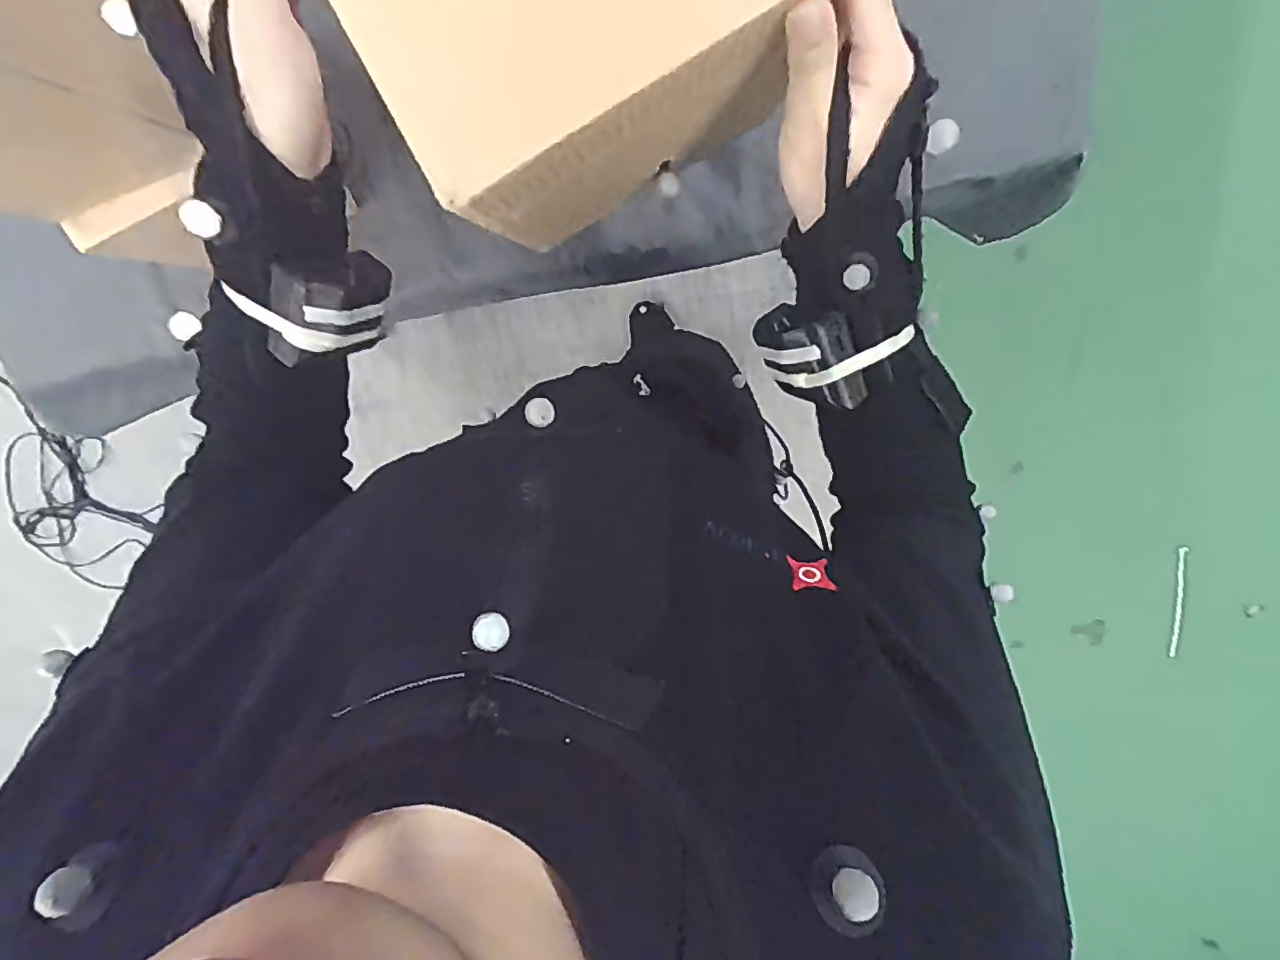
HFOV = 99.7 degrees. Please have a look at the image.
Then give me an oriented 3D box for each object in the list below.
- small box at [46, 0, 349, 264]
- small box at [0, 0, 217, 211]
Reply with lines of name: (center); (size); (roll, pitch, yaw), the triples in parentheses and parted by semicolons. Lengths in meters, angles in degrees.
small box: (-0.410, -0.313, 0.483); (0.168, 0.176, 0.179); (-19, 105, 10)
small box: (-0.421, -0.281, 0.323); (0.179, 0.176, 0.168); (-15, 106, 8)
